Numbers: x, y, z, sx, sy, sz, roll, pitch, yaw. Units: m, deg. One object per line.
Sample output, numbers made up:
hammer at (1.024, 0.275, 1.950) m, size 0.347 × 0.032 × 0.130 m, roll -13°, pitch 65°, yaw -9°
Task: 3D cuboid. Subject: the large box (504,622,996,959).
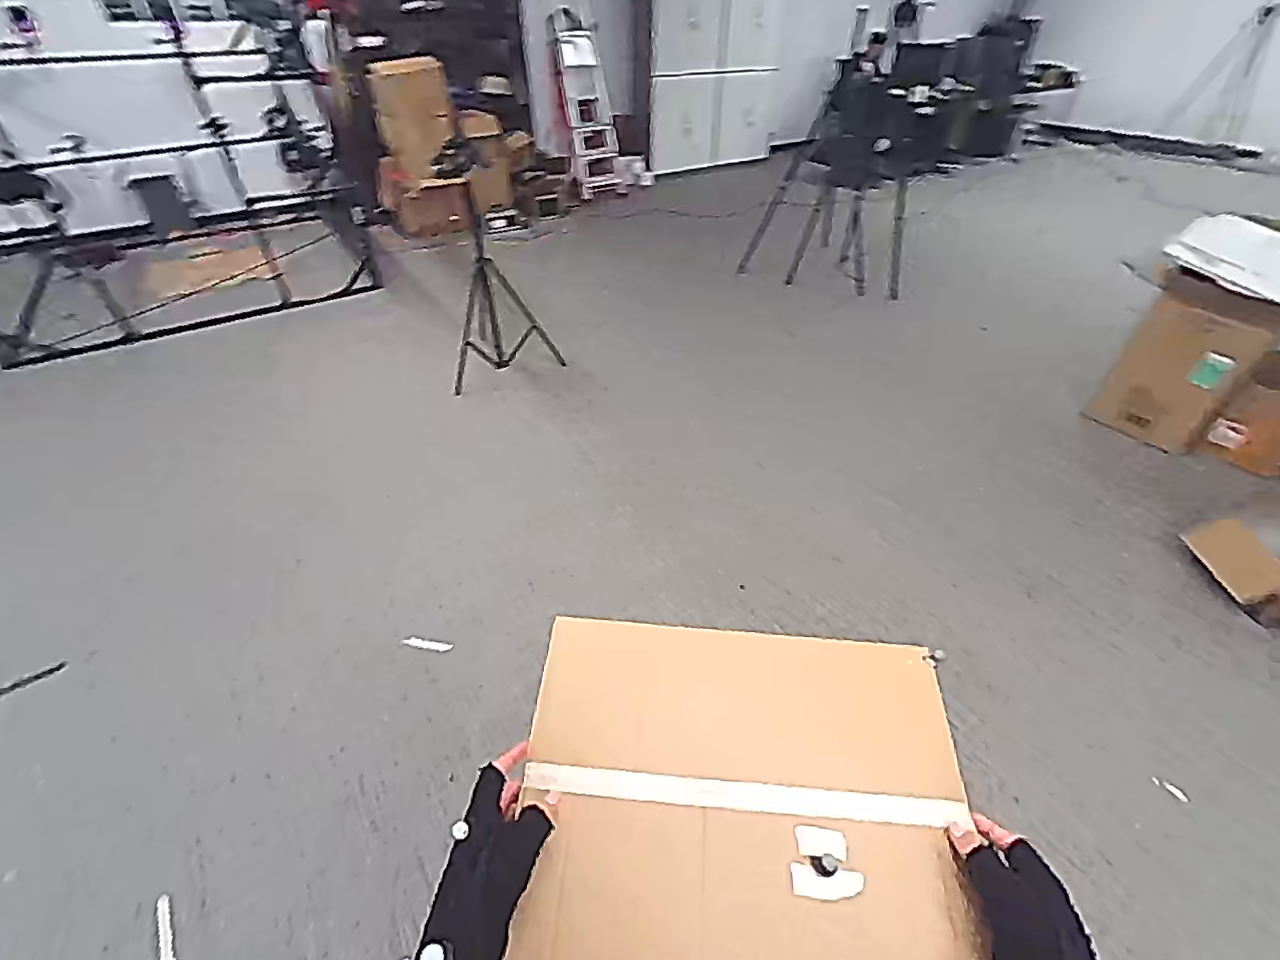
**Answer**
large box at (0.091, 0.380, 0.624) m, size 0.408 × 0.320 × 0.320 m, roll 3°, pitch 53°, yaw 2°
